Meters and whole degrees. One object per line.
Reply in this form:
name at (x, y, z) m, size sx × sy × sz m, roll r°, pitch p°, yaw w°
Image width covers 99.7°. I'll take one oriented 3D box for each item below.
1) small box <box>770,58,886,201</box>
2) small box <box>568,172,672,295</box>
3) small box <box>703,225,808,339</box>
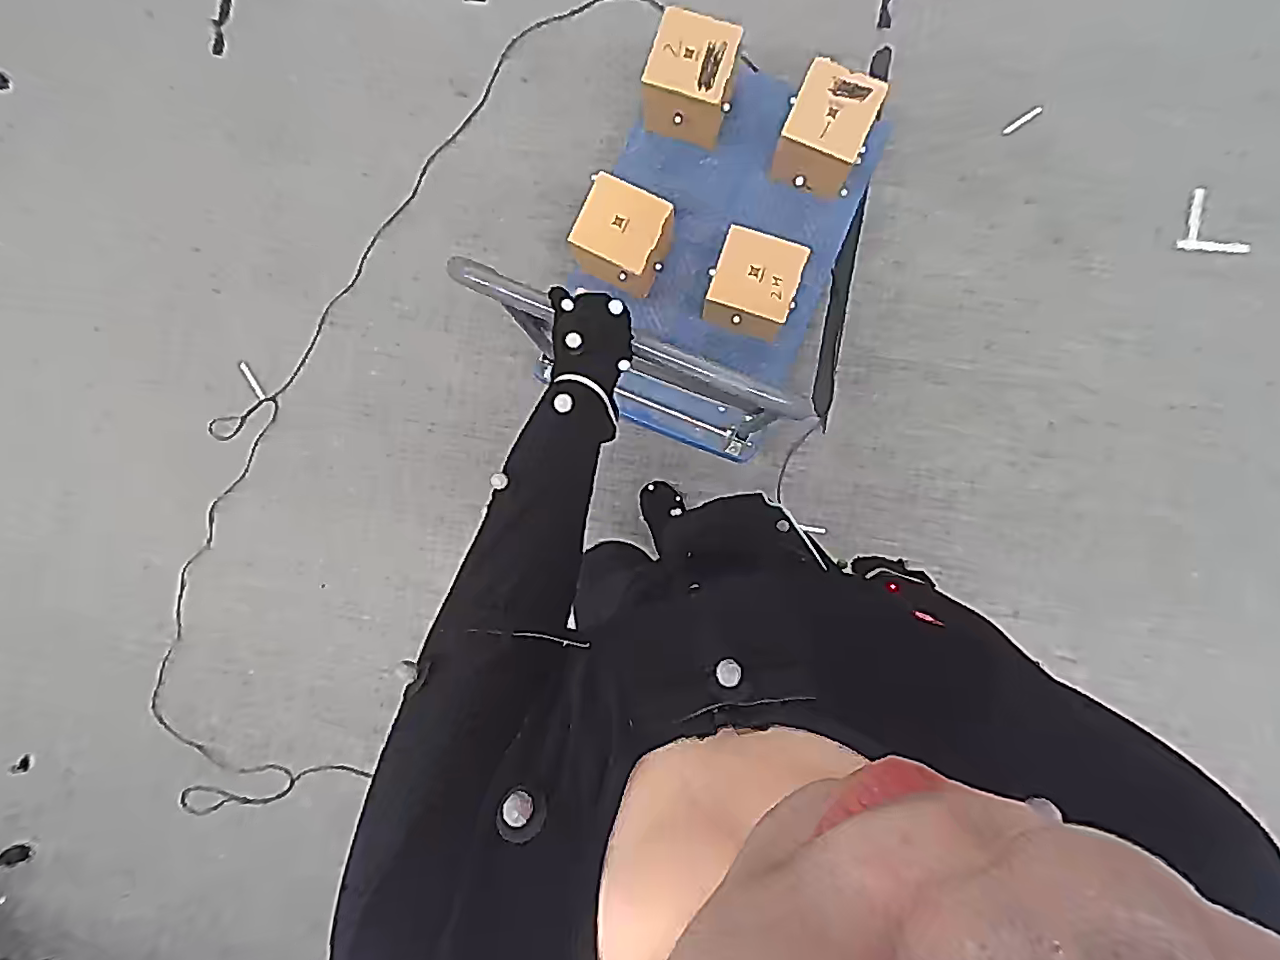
small box at (0.403, -0.763, 1.195) m, size 0.168 × 0.176 × 0.179 m, roll 24°, pitch 93°, yaw 3°
small box at (-0.040, -0.545, 1.224) m, size 0.179 × 0.176 × 0.168 m, roll 26°, pitch 92°, yaw 1°
small box at (0.247, -0.431, 1.209) m, size 0.179 × 0.176 × 0.168 m, roll 20°, pitch 92°, yaw 3°
